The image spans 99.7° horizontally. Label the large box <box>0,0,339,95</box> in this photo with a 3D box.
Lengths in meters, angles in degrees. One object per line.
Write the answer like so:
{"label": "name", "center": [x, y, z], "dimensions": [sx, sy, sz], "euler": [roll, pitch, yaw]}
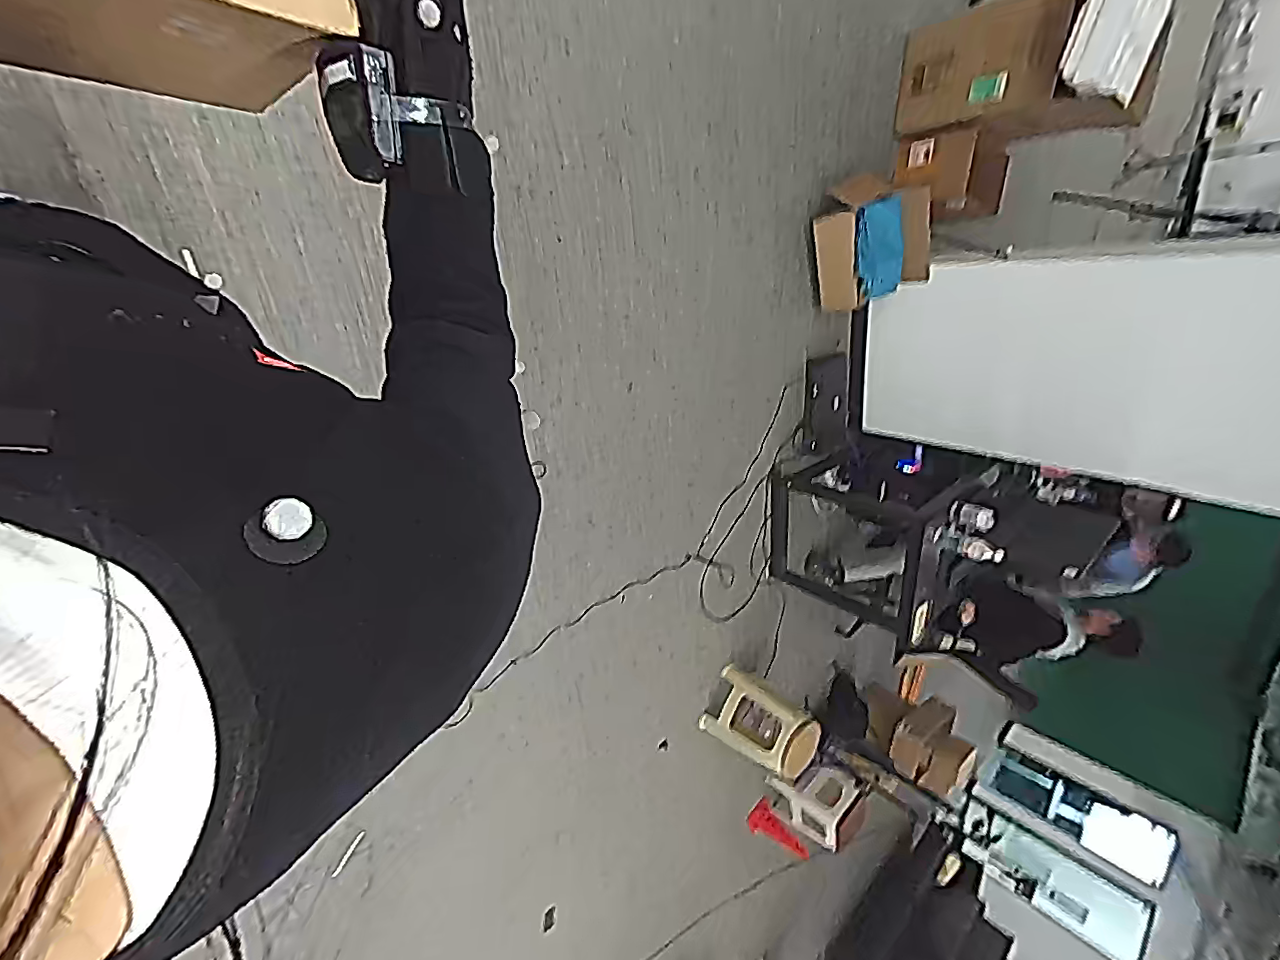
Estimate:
{"label": "large box", "center": [-0.417, -0.411, 0.235], "dimensions": [0.408, 0.320, 0.320], "euler": [-17, 121, -39]}
